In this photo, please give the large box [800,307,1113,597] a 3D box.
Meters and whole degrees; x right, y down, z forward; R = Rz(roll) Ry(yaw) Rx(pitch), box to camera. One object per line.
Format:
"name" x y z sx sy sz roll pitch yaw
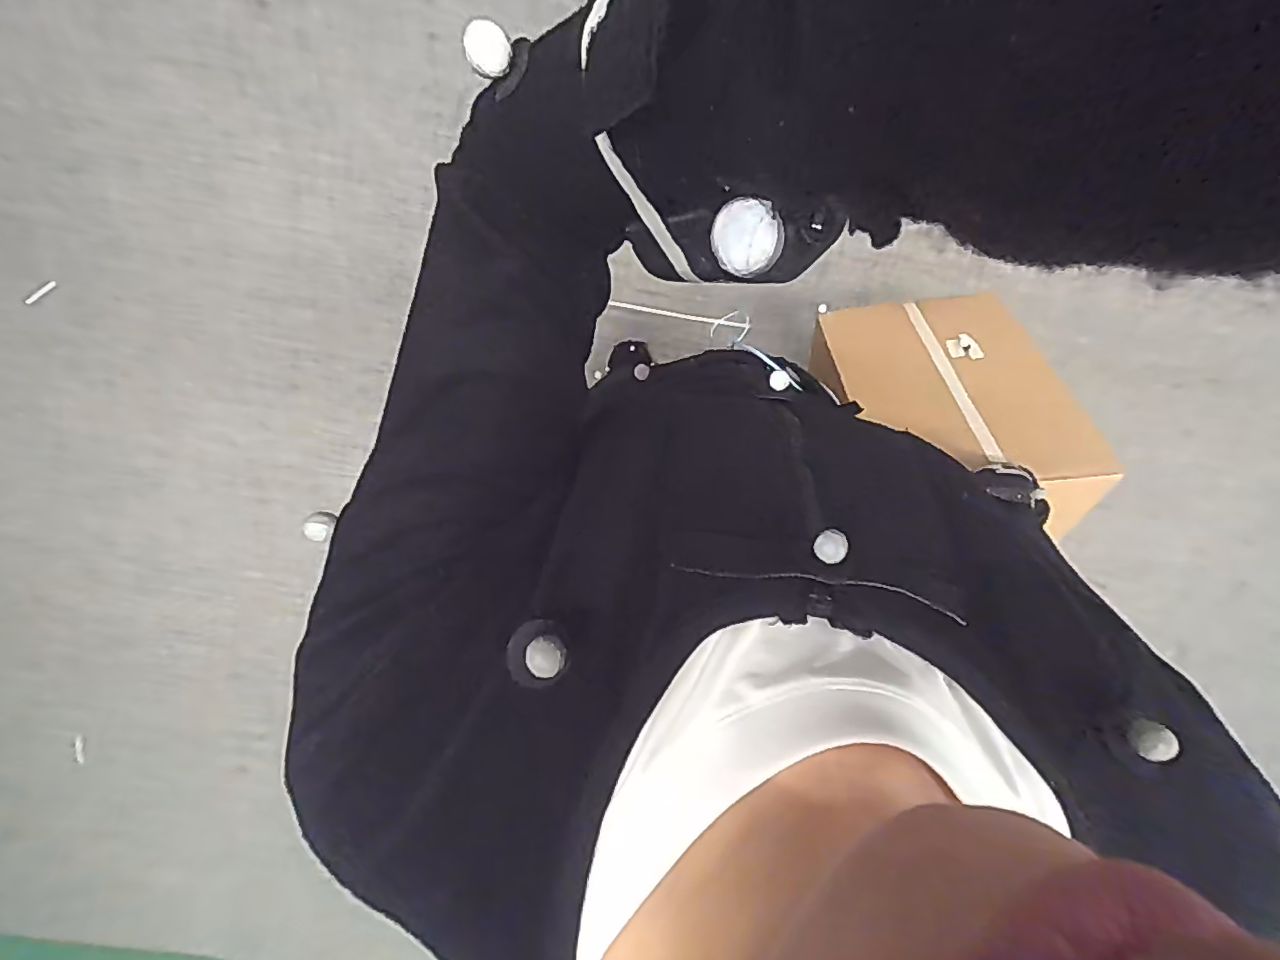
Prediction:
"large box" 0.496 -0.048 0.971 0.320 0.408 0.320 -5 141 4
